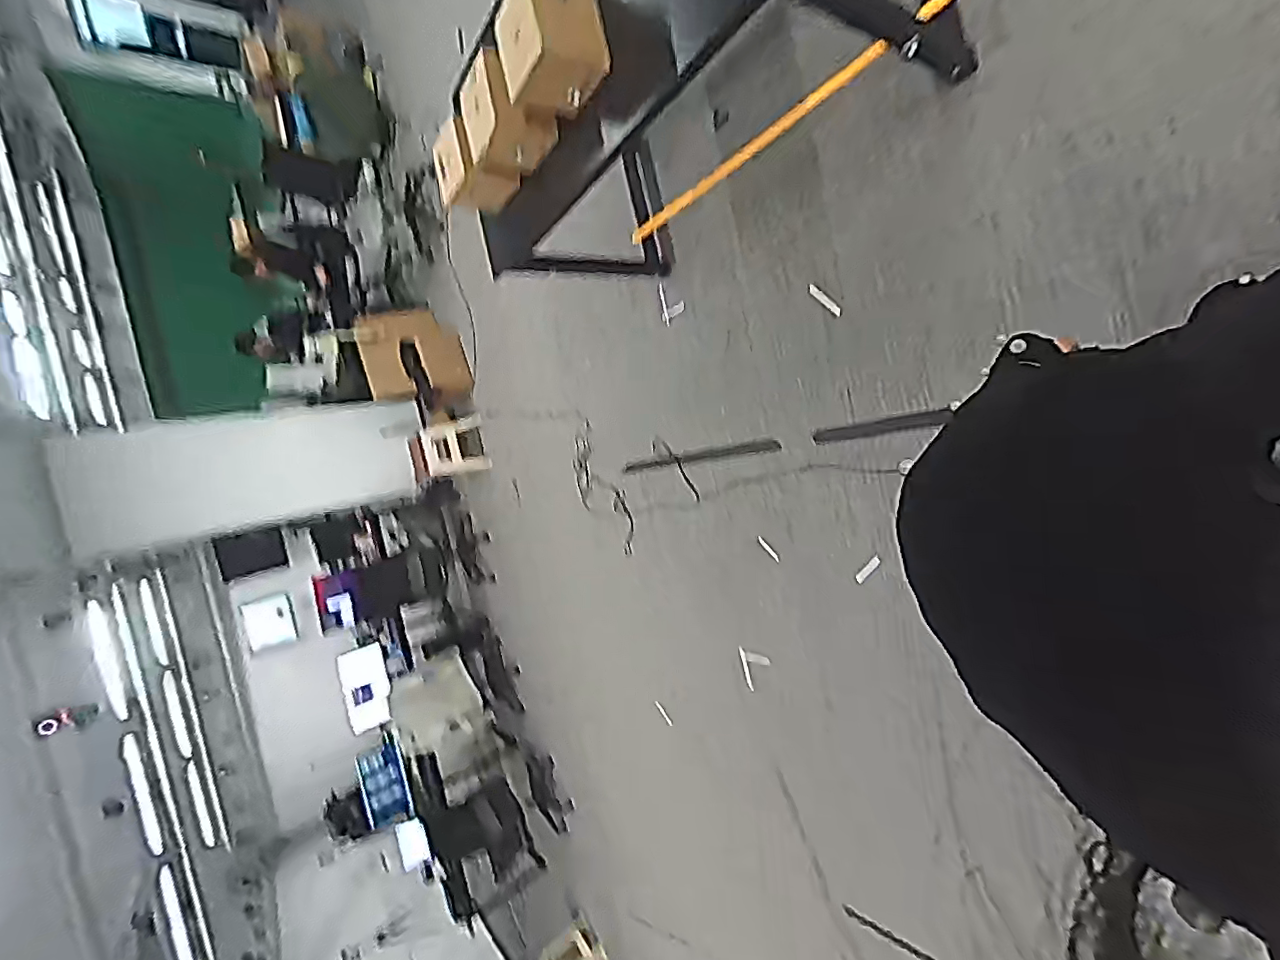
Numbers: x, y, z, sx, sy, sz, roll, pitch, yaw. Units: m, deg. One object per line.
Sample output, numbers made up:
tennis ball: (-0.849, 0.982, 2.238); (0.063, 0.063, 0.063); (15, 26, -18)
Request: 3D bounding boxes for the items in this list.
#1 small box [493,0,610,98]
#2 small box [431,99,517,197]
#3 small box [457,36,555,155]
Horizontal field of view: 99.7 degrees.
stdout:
small box: (-0.188, -0.960, 1.149); (0.168, 0.176, 0.179); (-10, 94, 55)
small box: (-0.467, -0.924, 1.527); (0.179, 0.176, 0.168); (-8, 95, 53)
small box: (-0.329, -0.936, 1.341); (0.168, 0.176, 0.179); (-8, 95, 53)
